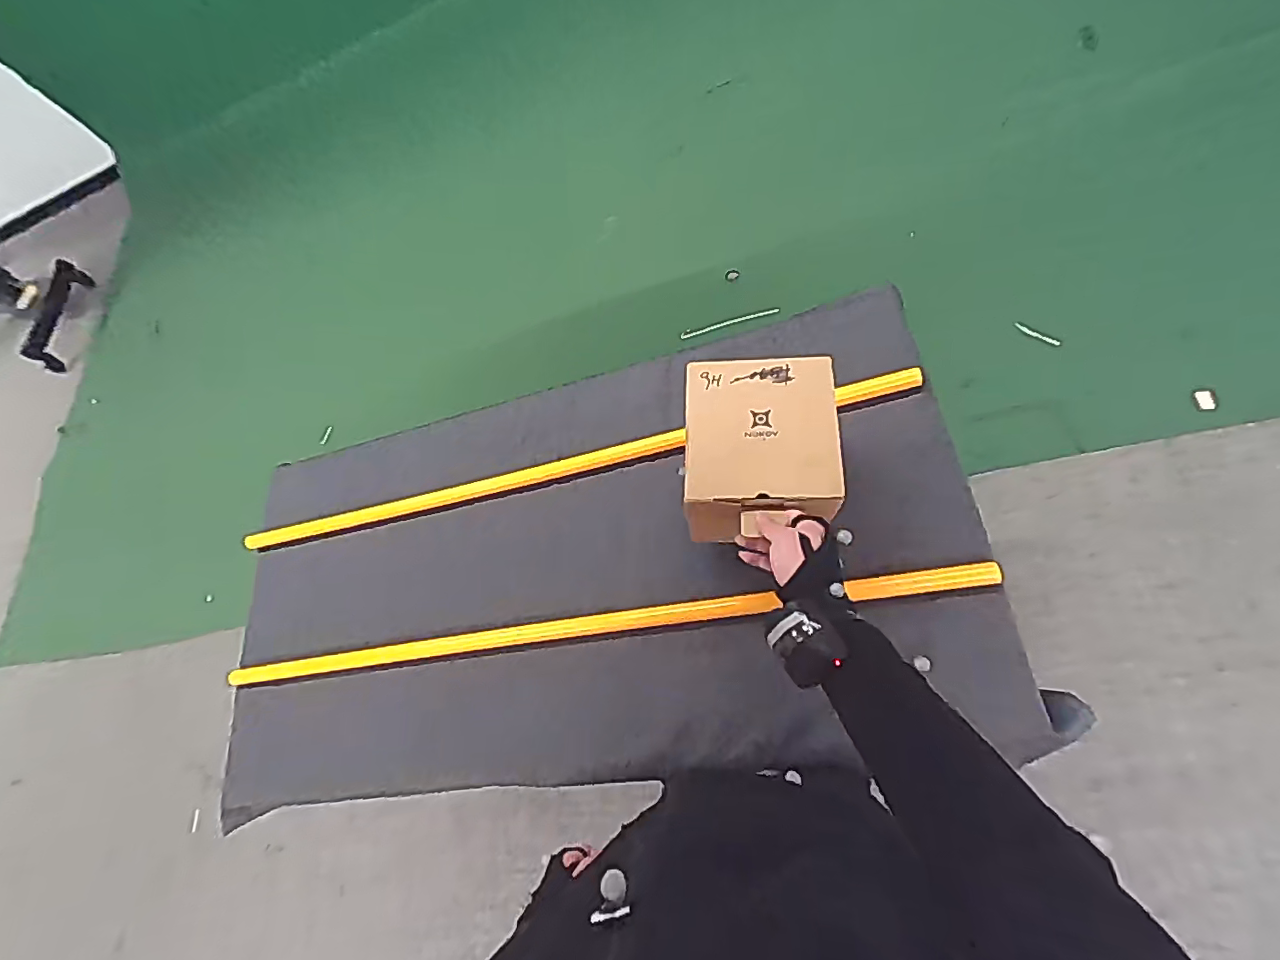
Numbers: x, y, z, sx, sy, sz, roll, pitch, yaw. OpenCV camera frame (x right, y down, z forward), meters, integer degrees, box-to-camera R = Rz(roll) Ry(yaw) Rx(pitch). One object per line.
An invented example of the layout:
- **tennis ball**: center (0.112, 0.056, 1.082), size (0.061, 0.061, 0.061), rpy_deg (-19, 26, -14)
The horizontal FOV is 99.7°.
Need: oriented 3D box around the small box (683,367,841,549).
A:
- **small box**: center (0.144, -0.015, 0.673), size (0.168, 0.176, 0.179), rpy_deg (-3, 67, 9)
